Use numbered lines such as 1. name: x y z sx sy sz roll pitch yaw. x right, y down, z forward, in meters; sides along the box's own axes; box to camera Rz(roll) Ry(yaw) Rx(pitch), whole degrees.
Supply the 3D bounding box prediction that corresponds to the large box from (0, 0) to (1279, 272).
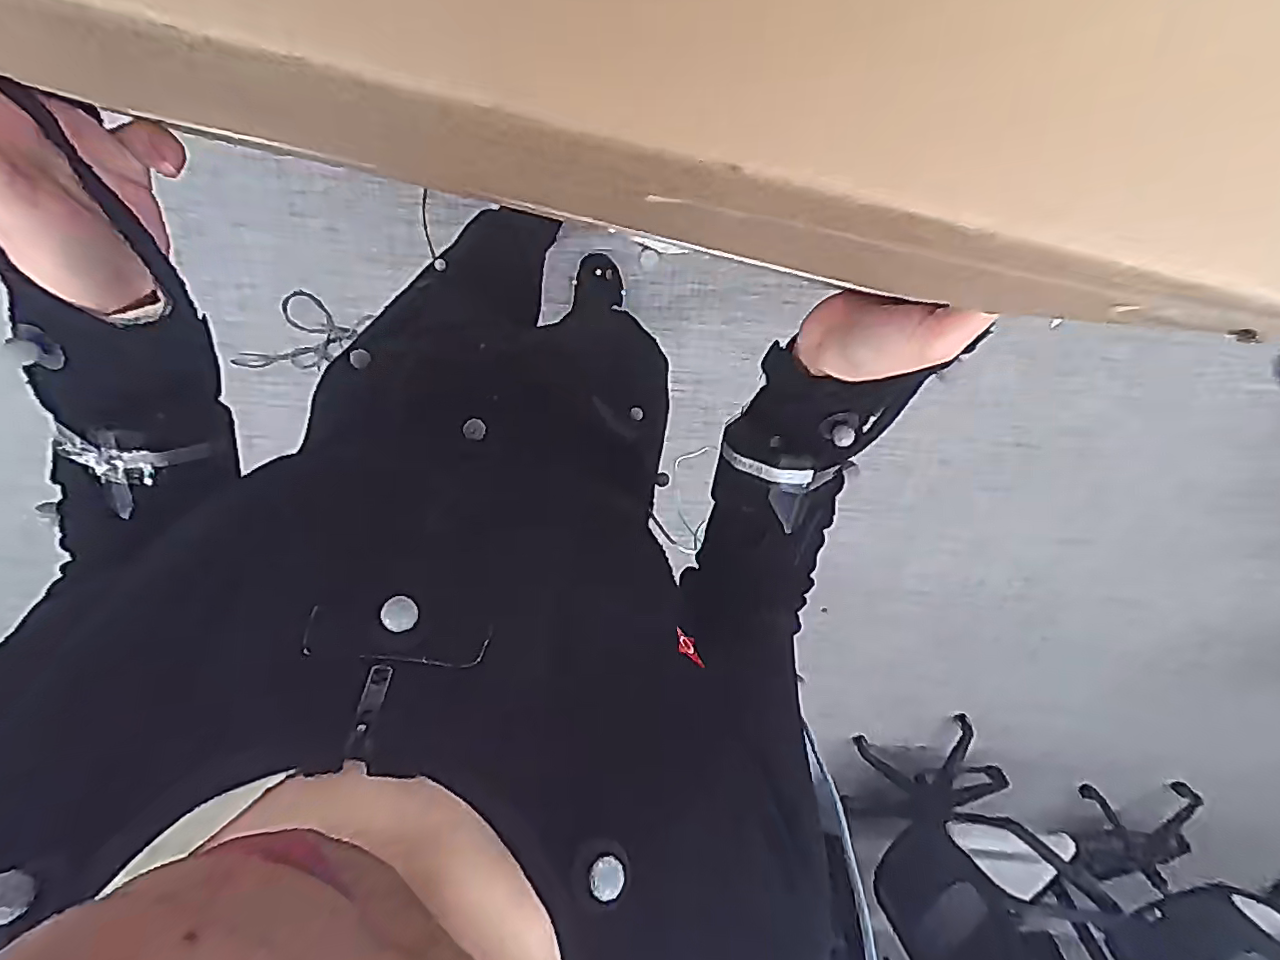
1. large box: -0.024 -0.270 0.160 0.408 0.320 0.320 11 112 -4
